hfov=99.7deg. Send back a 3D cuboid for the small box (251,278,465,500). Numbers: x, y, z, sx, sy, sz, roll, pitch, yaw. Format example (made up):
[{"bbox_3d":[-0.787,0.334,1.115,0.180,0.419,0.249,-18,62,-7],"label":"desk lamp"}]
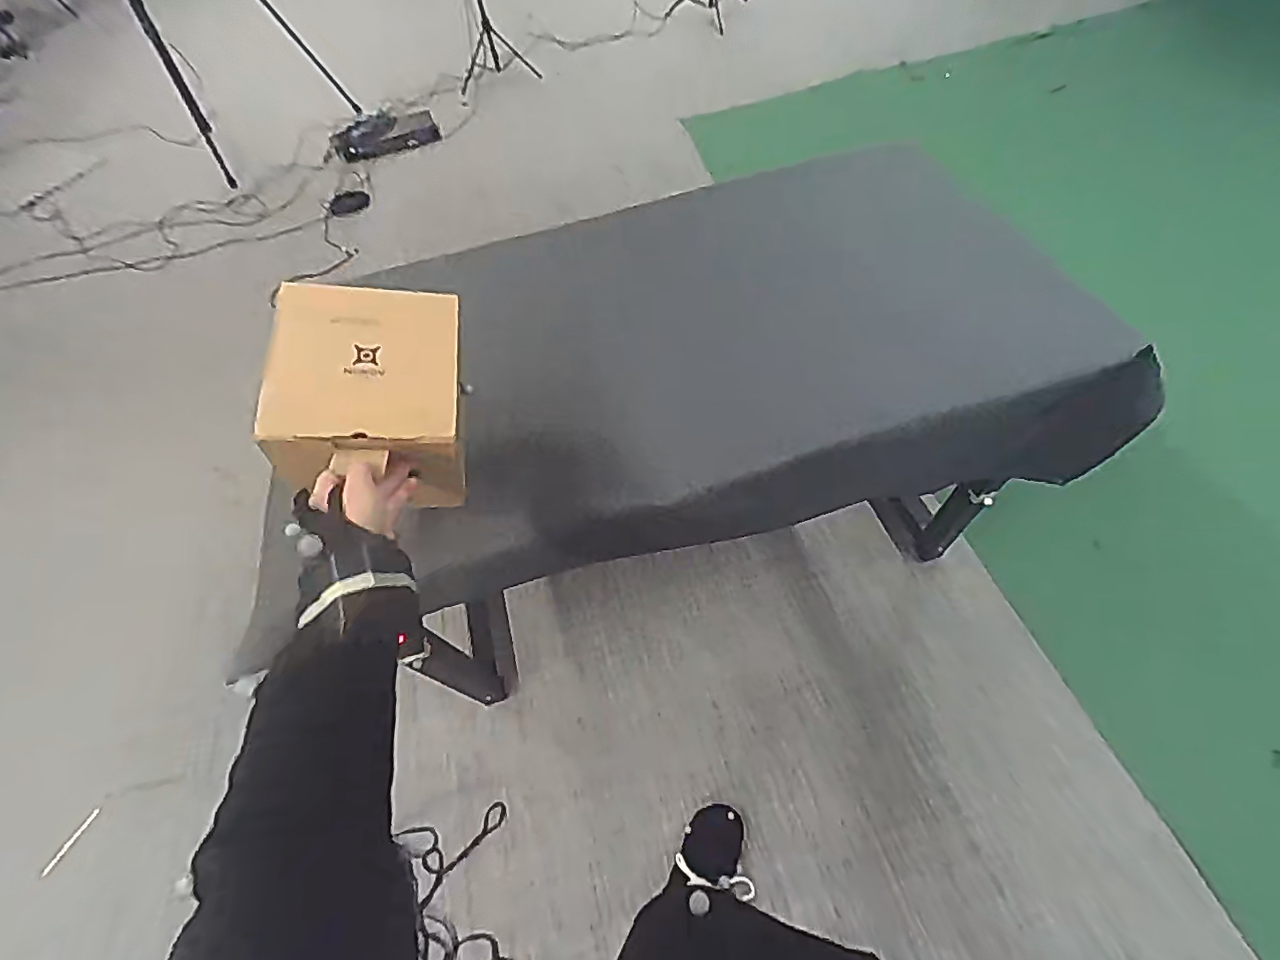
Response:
[{"bbox_3d":[-0.278,-0.085,0.577,0.168,0.176,0.179,-1,64,-16],"label":"small box"}]
